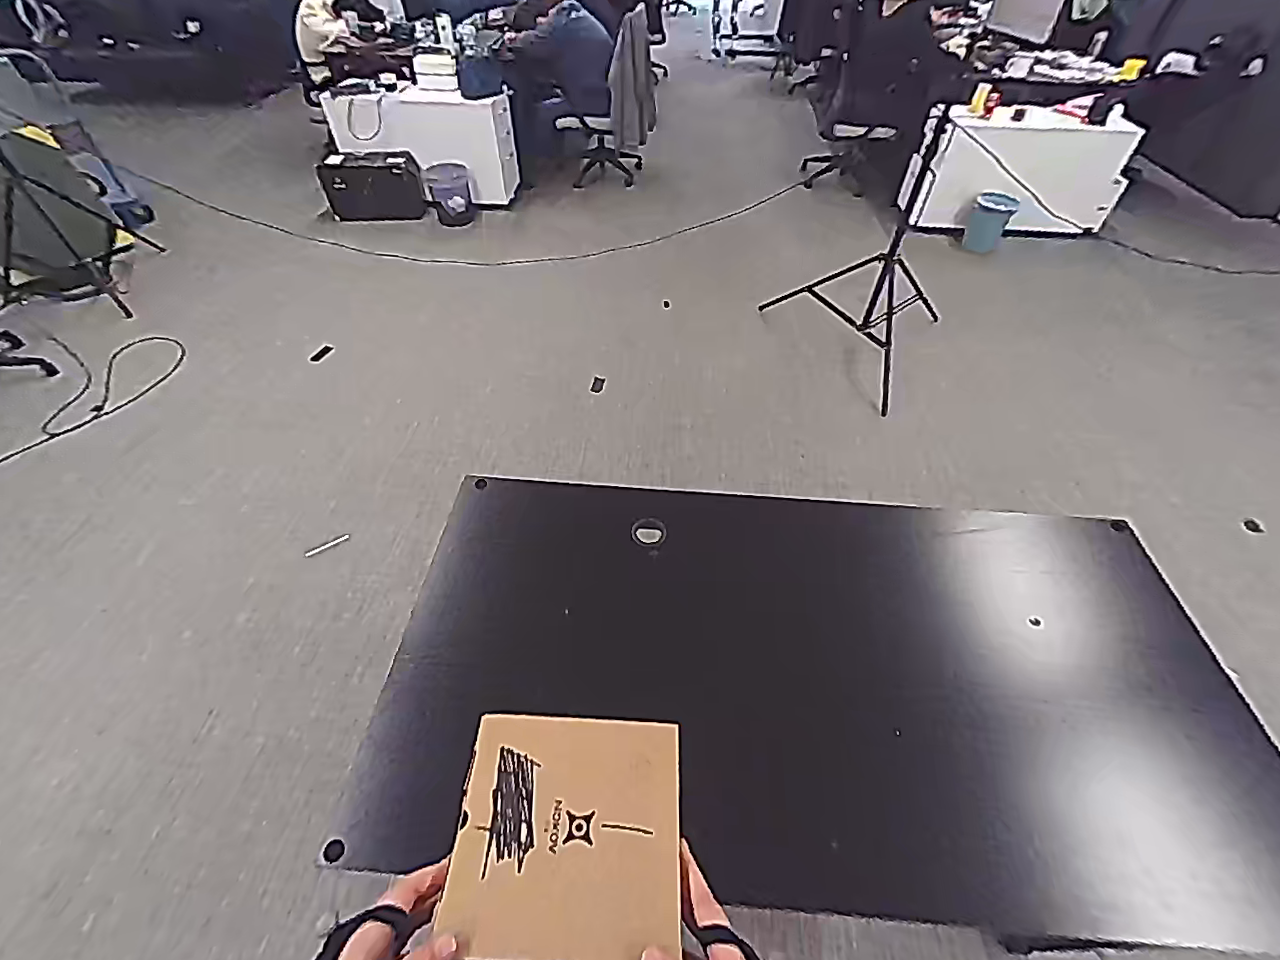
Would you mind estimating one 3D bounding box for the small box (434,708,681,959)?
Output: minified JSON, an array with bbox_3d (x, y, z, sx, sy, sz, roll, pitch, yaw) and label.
[{"bbox_3d":[-0.057,0.324,0.484,0.179,0.176,0.168,3,44,-1],"label":"small box"}]
